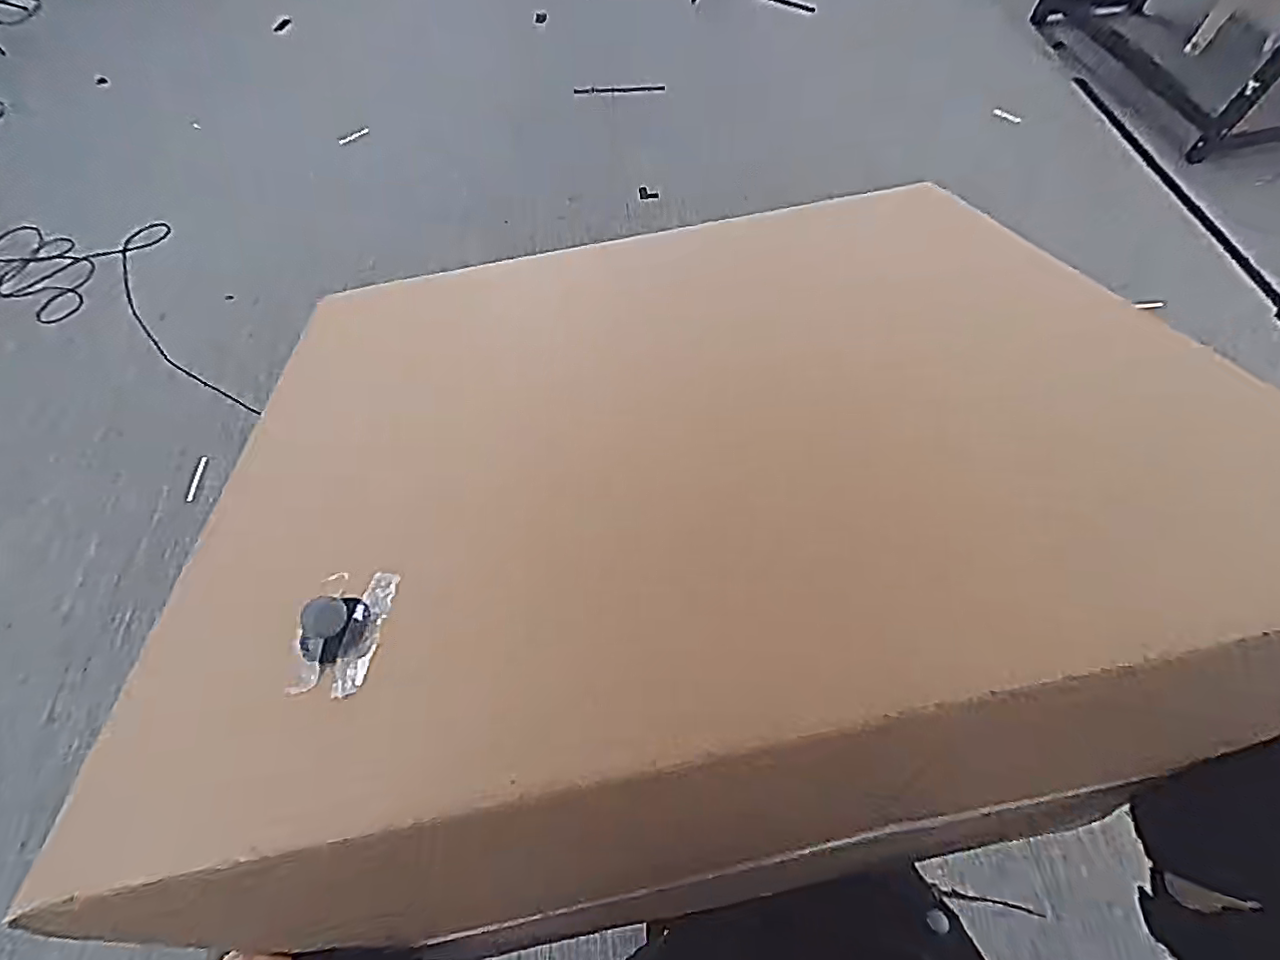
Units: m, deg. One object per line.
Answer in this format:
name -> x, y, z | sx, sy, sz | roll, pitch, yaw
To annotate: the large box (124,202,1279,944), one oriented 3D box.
large box -> 0.042, 0.057, 0.361 | 0.408, 0.320, 0.320 | -12, 47, -1
